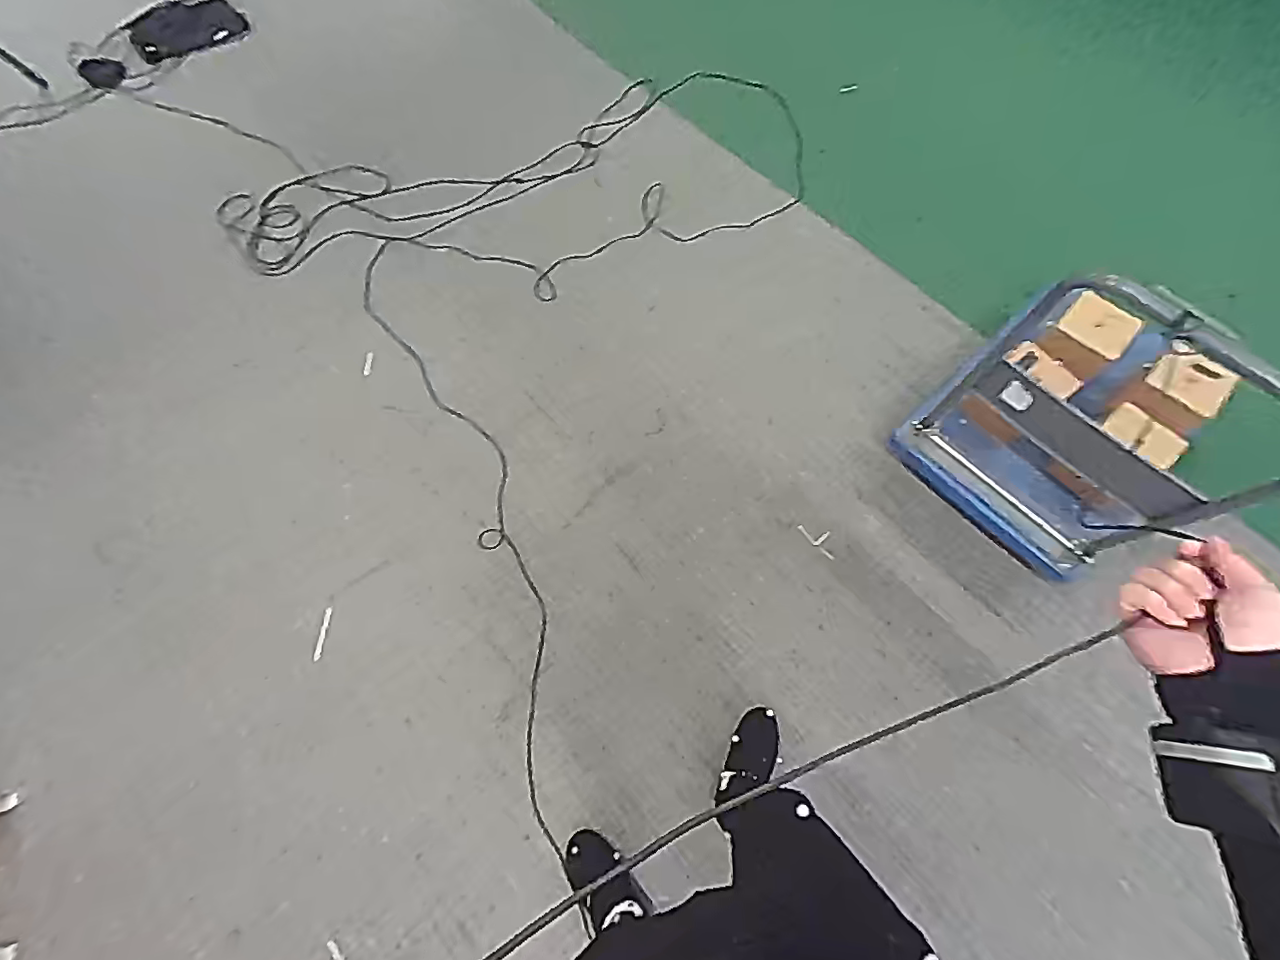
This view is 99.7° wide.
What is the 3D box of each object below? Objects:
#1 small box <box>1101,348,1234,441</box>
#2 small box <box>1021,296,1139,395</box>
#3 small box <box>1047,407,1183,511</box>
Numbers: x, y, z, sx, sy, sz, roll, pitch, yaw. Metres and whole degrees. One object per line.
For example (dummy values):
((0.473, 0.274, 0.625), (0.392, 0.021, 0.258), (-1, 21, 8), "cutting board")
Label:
((1.417, -0.215, 1.467), (0.179, 0.176, 0.168), (-43, 72, -15), "small box")
((1.238, -0.377, 1.538), (0.168, 0.176, 0.179), (43, 74, 16), "small box")
((1.214, -0.050, 1.399), (0.179, 0.176, 0.168), (-38, 72, -14), "small box")
